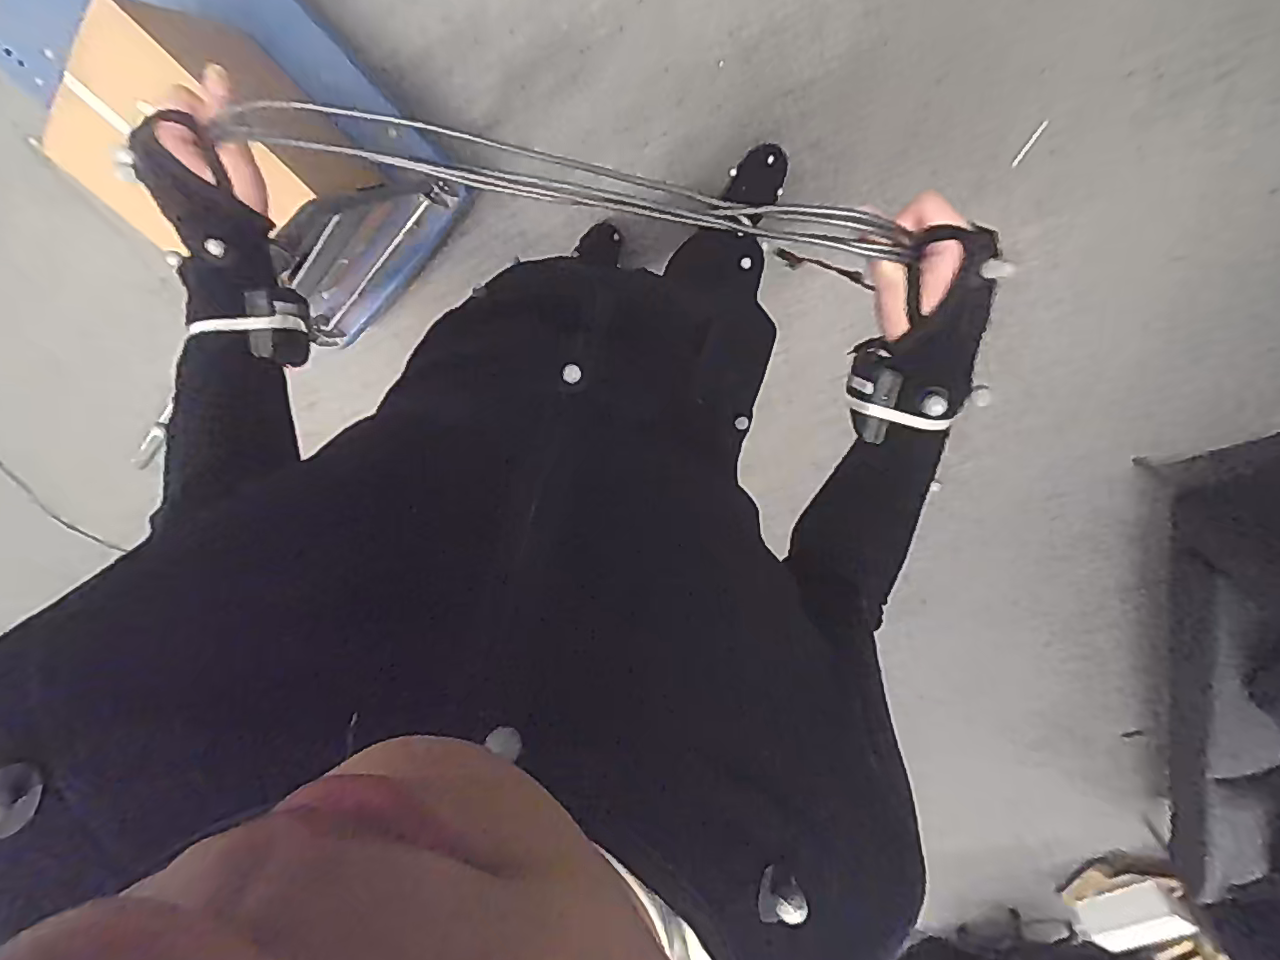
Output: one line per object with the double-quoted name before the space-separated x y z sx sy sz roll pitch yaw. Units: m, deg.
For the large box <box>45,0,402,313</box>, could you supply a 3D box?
"large box" -0.776 -0.613 1.067 0.320 0.320 0.408 -36 112 23
